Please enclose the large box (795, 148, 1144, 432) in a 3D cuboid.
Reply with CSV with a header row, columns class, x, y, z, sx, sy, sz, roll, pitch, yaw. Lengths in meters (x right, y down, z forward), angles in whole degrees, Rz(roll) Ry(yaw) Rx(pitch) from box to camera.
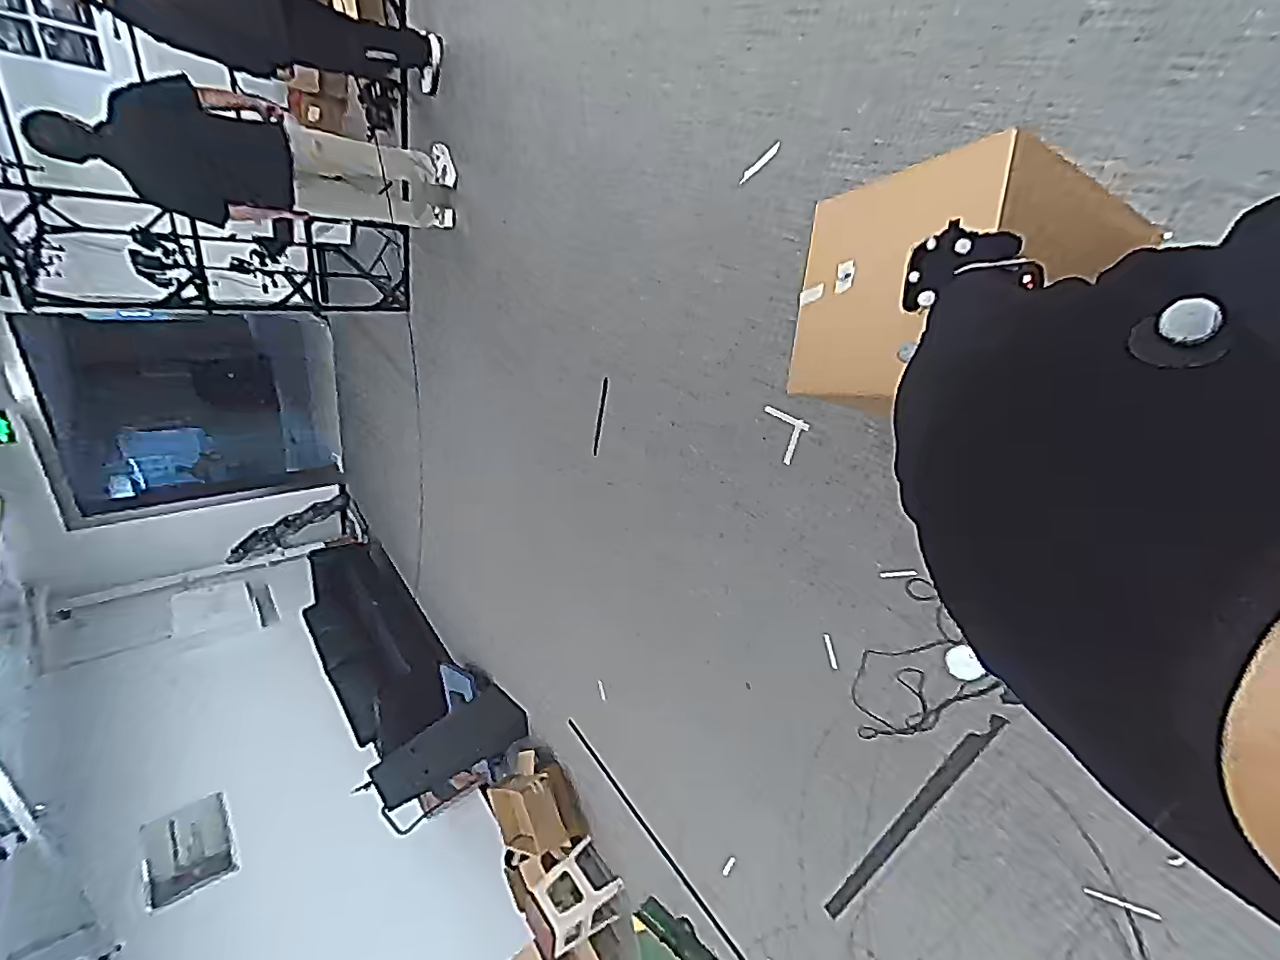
class,x,y,z,sx,sy,sz,roll,pitch,yaw
large box,0.517,-0.257,0.881,0.320,0.408,0.320,17,101,61
